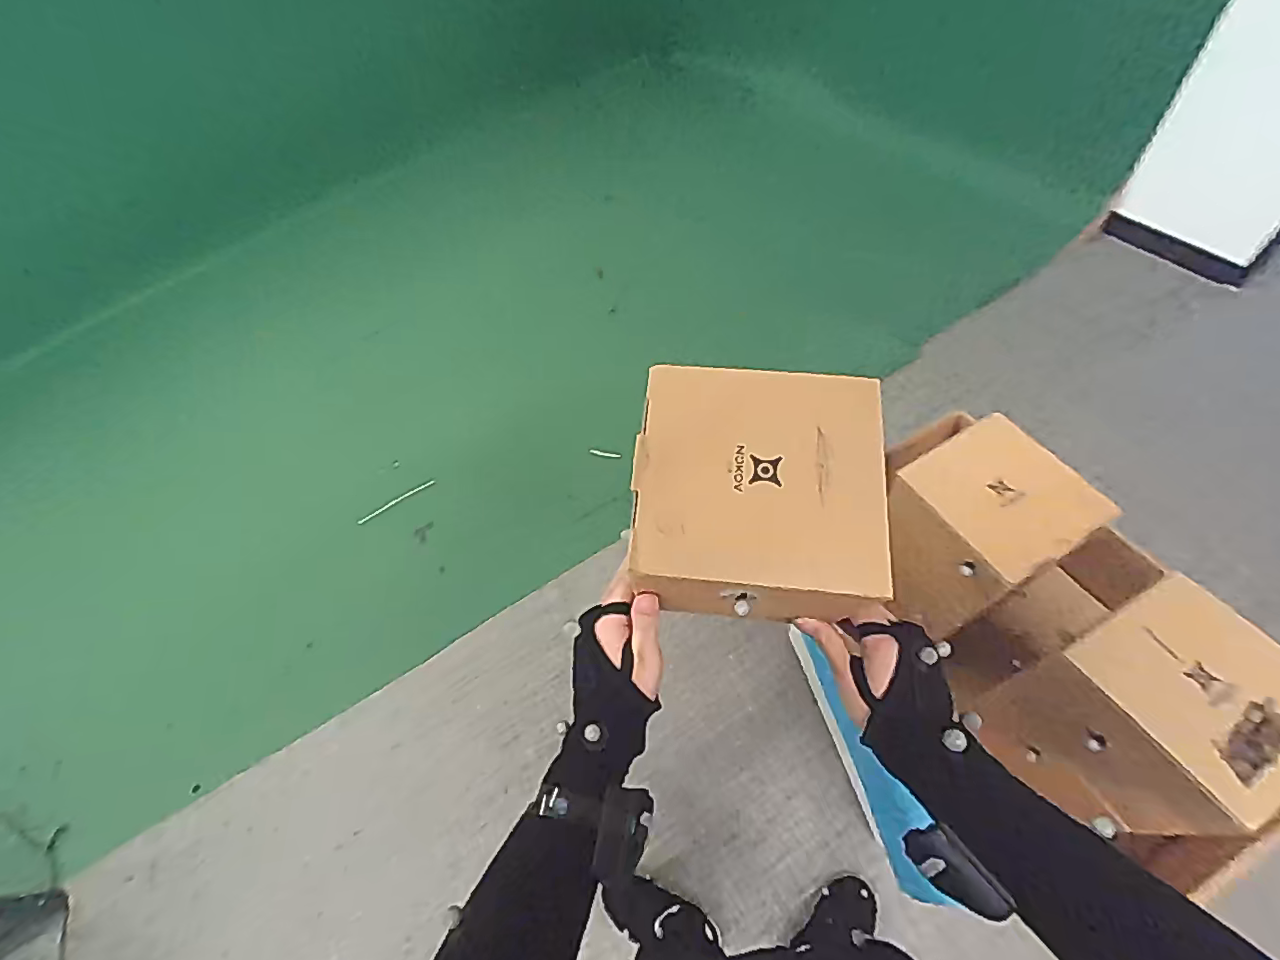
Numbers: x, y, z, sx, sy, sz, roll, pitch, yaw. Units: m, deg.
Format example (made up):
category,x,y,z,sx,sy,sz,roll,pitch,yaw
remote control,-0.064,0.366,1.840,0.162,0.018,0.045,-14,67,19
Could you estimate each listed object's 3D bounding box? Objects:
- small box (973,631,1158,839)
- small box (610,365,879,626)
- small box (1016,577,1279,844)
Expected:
category,x,y,z,sx,sy,sz,roll,pitch,yaw
small box,0.572,0.327,0.688,0.168,0.176,0.179,-28,55,-7
small box,0.079,0.023,0.452,0.179,0.176,0.168,5,69,5
small box,0.545,0.237,0.554,0.168,0.176,0.179,-29,55,-8
